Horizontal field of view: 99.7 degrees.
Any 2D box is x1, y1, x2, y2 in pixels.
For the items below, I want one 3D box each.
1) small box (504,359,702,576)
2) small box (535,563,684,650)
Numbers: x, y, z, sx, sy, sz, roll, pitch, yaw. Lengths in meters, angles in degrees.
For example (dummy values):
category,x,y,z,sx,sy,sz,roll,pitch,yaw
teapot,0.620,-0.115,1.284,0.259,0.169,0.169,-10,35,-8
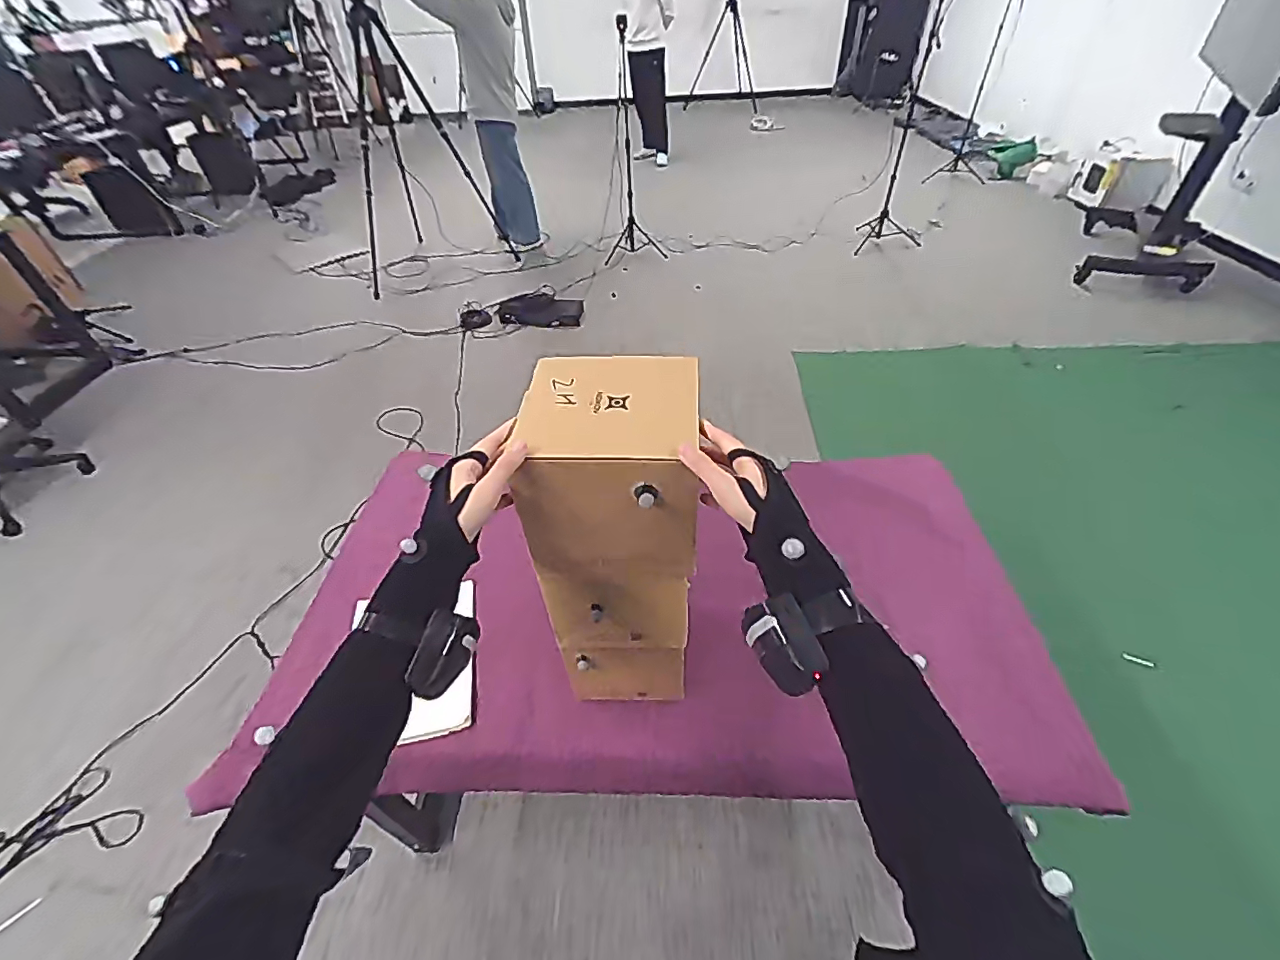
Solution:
category,x,y,z,sx,sy,sz,roll,pitch,yaw
small box,-0.025,-0.012,0.580,0.179,0.176,0.168,1,43,5
small box,-0.026,0.103,0.699,0.168,0.176,0.179,0,43,3
